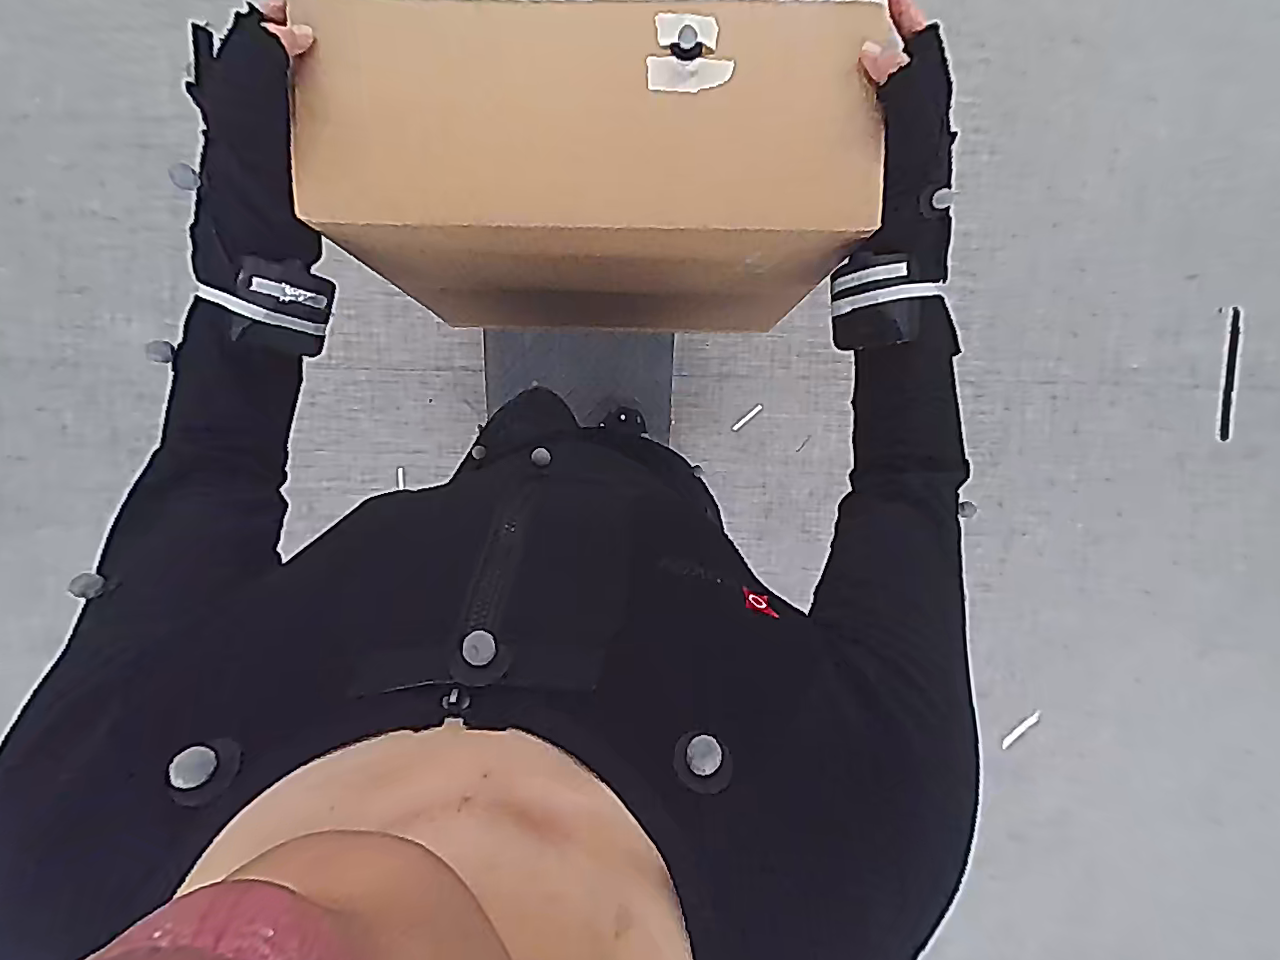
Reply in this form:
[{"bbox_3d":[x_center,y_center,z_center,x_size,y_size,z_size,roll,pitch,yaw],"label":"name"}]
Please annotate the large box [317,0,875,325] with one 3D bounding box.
[{"bbox_3d":[-0.032,-0.346,0.532,0.408,0.320,0.320,0,93,-1],"label":"large box"}]
